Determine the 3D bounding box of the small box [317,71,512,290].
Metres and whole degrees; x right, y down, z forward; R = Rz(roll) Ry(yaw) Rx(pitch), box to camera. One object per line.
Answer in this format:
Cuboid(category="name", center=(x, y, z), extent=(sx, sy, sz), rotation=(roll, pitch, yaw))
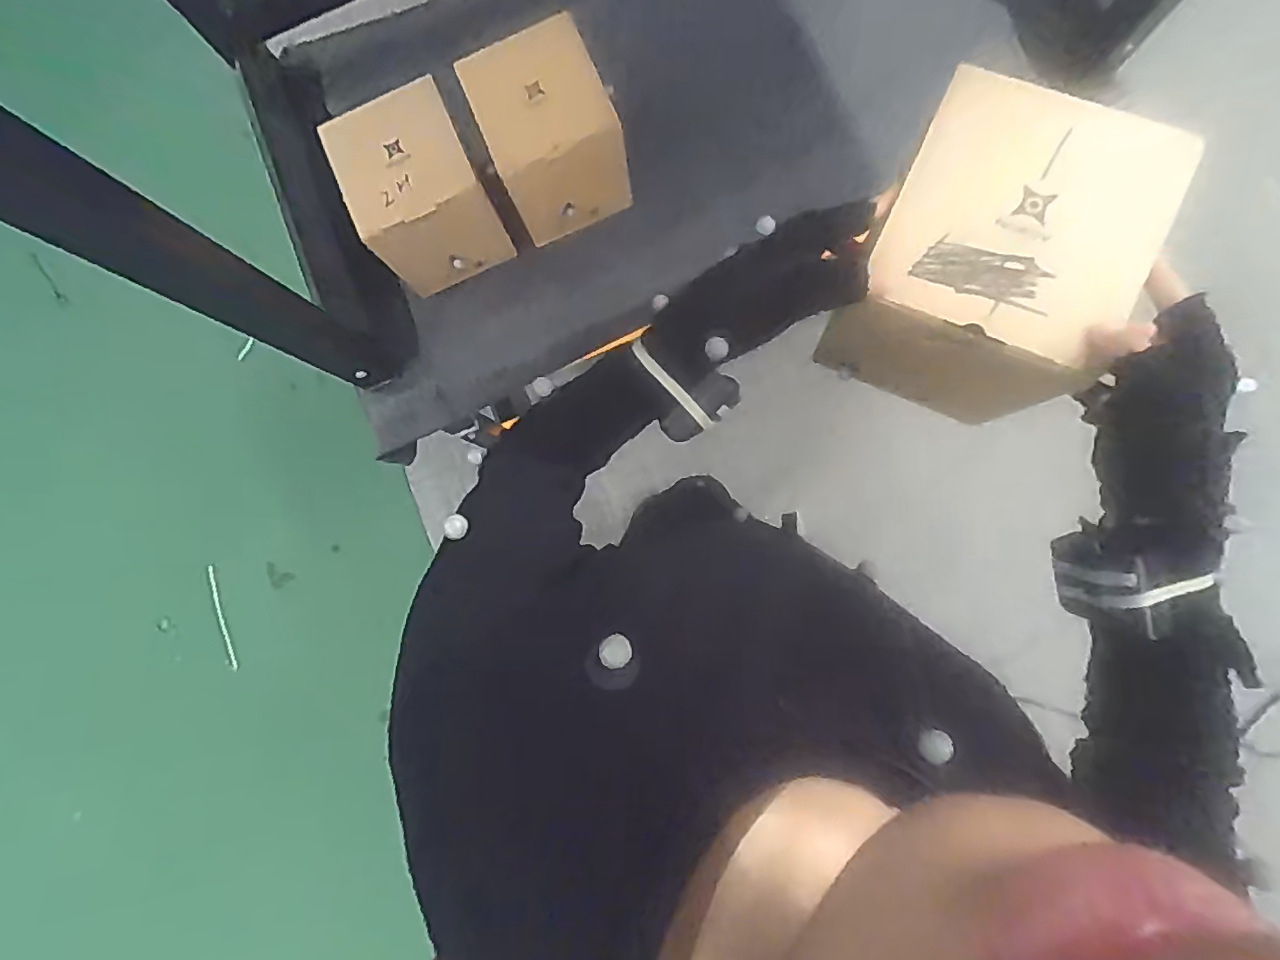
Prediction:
Cuboid(category="small box", center=(-0.303, -0.405, 0.759), extent=(0.168, 0.176, 0.179), rotation=(-24, 82, 2))
